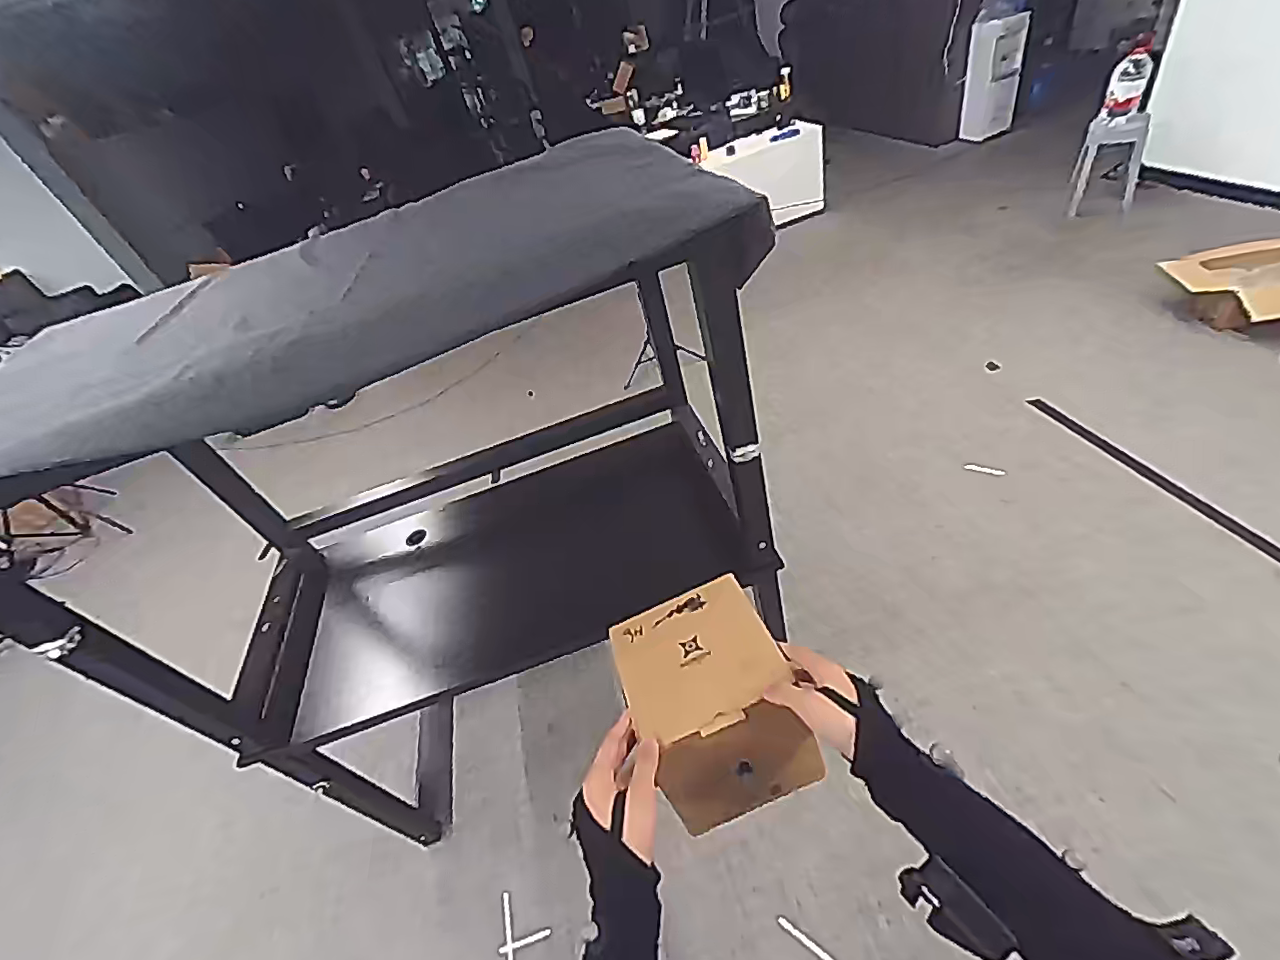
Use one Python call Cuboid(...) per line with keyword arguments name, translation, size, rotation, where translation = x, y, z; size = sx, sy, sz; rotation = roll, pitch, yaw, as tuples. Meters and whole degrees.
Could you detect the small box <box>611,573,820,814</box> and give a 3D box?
Cuboid(name="small box", translation=(0.085, 0.247, 0.621), size=(0.168, 0.176, 0.179), rotation=(-24, 32, -1))
